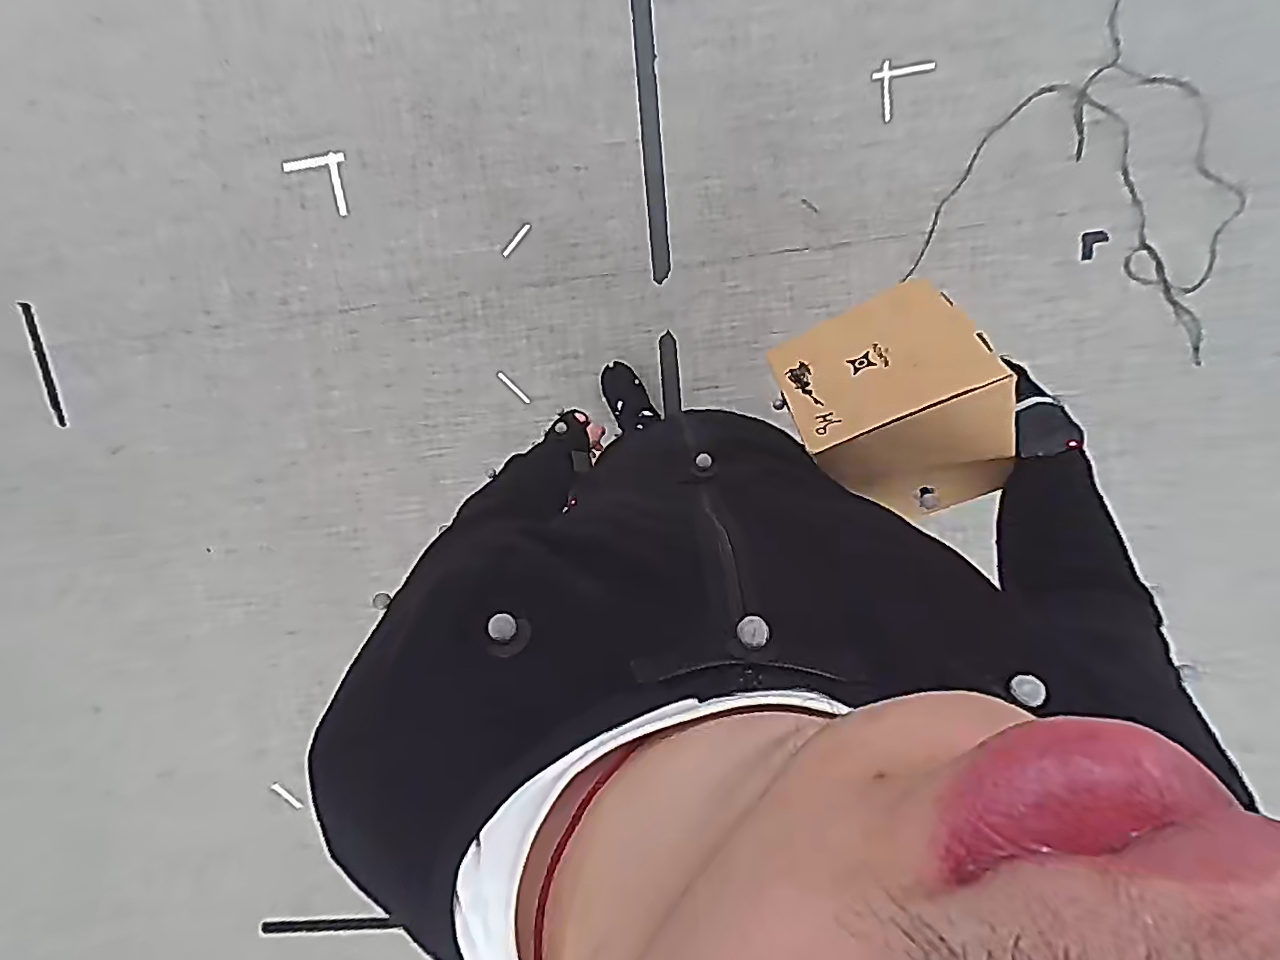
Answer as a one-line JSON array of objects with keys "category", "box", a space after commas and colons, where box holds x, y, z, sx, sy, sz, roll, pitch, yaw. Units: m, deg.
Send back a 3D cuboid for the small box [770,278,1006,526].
[{"category": "small box", "box": [0.267, -0.077, 0.594, 0.179, 0.168, 0.176, -23, 135, 18]}]
